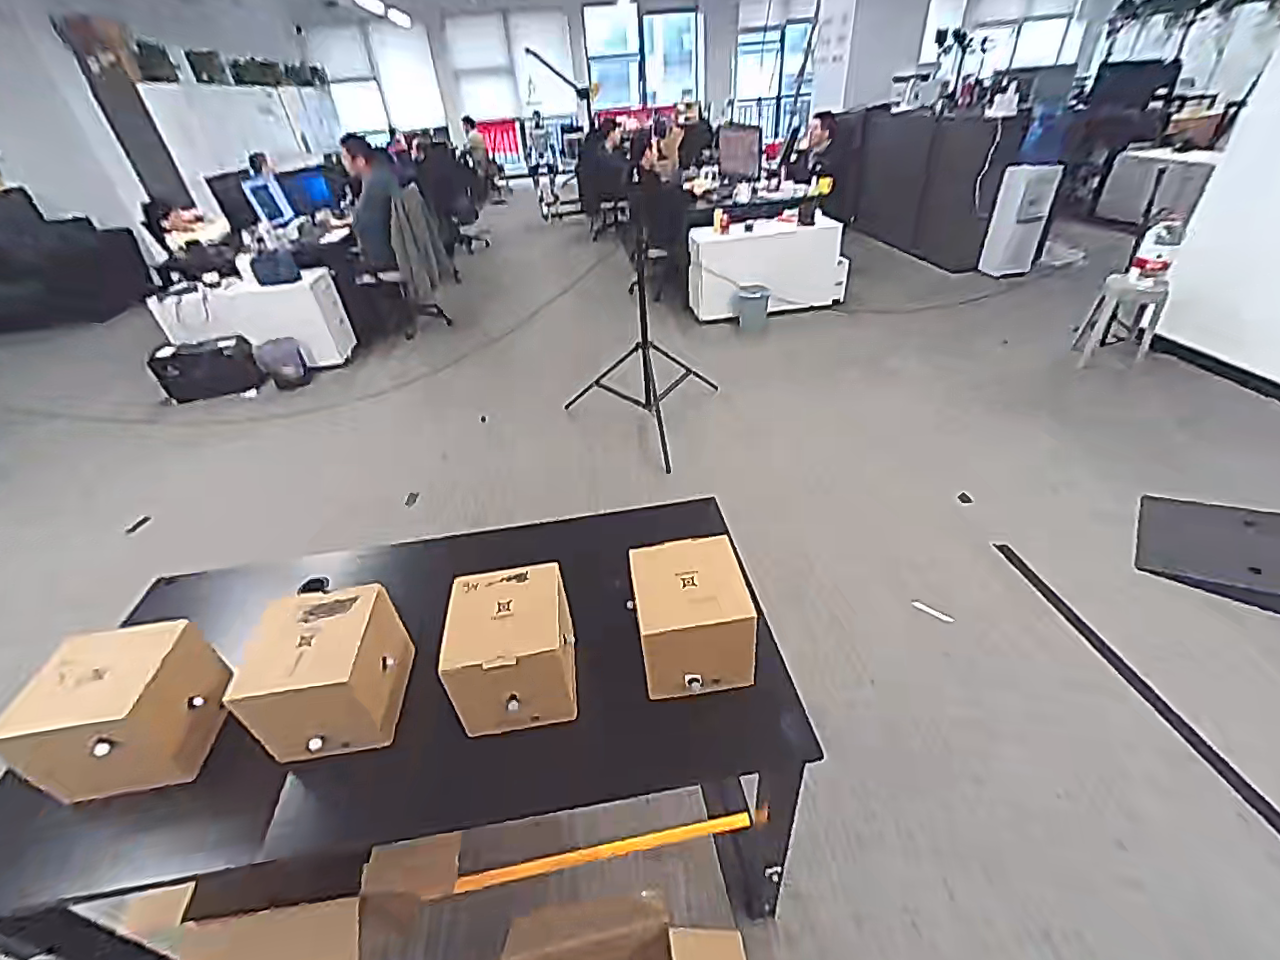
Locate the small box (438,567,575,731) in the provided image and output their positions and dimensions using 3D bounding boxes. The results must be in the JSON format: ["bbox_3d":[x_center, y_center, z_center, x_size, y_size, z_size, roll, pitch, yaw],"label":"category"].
[{"bbox_3d":[-0.196,0.266,0.842,0.168,0.176,0.179,-8,36,-4],"label":"small box"}]

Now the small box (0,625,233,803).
[{"bbox_3d":[-0.750,0.344,0.798,0.179,0.176,0.168,-8,35,-5],"label":"small box"}]

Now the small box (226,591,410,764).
[{"bbox_3d":[-0.470,0.299,0.828,0.168,0.176,0.179,-8,36,-4],"label":"small box"}]

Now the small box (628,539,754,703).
[{"bbox_3d":[0.077,0.223,0.867,0.168,0.176,0.179,-9,36,-3],"label":"small box"}]
